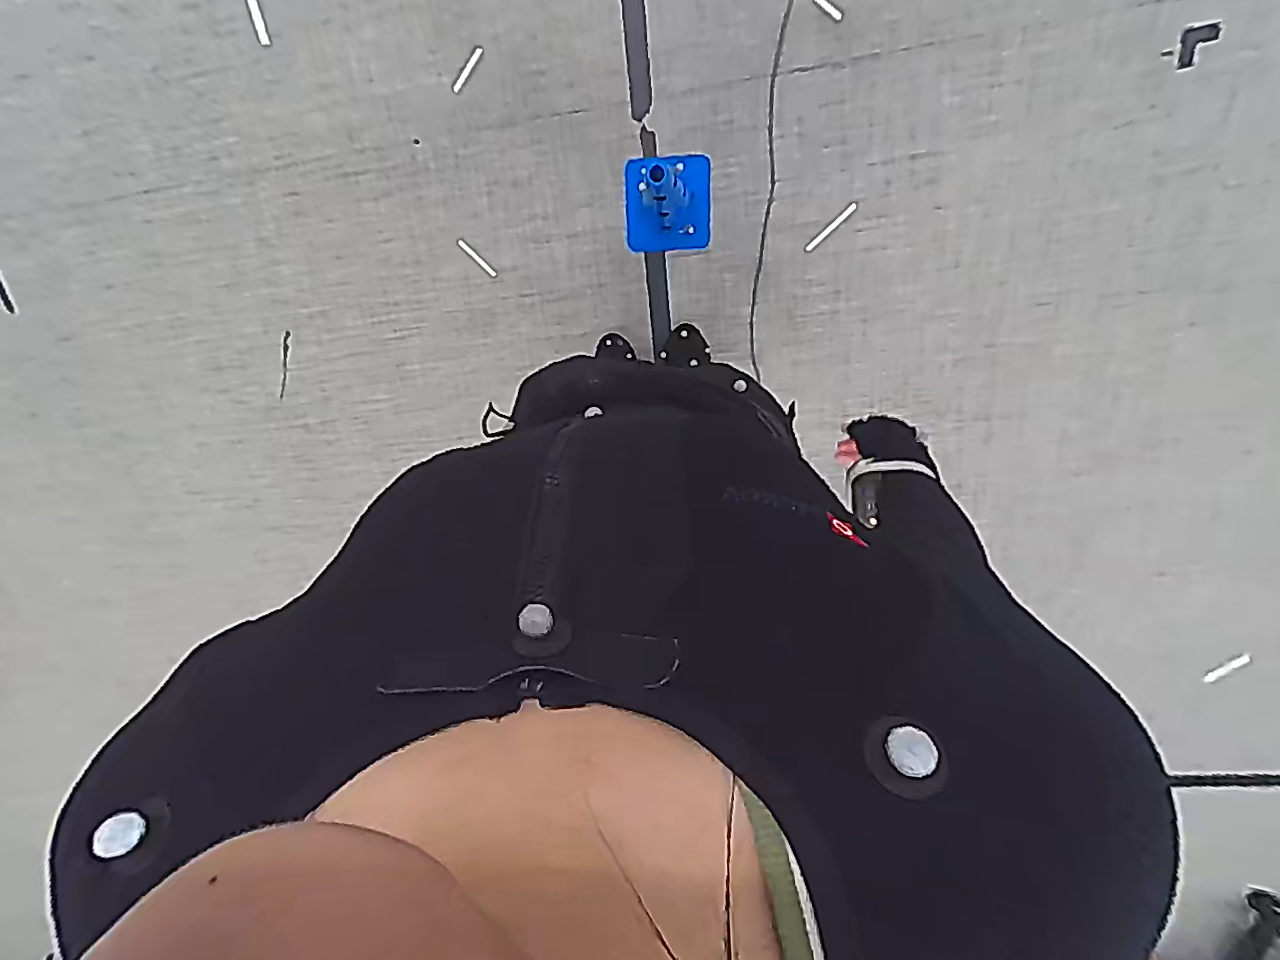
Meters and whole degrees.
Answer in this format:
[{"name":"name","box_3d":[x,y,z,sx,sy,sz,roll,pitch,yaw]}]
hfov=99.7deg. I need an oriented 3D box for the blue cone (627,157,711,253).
[{"name":"blue cone","box_3d":[0.052,-0.583,1.097,0.193,0.380,0.192,-2,108,6]}]
